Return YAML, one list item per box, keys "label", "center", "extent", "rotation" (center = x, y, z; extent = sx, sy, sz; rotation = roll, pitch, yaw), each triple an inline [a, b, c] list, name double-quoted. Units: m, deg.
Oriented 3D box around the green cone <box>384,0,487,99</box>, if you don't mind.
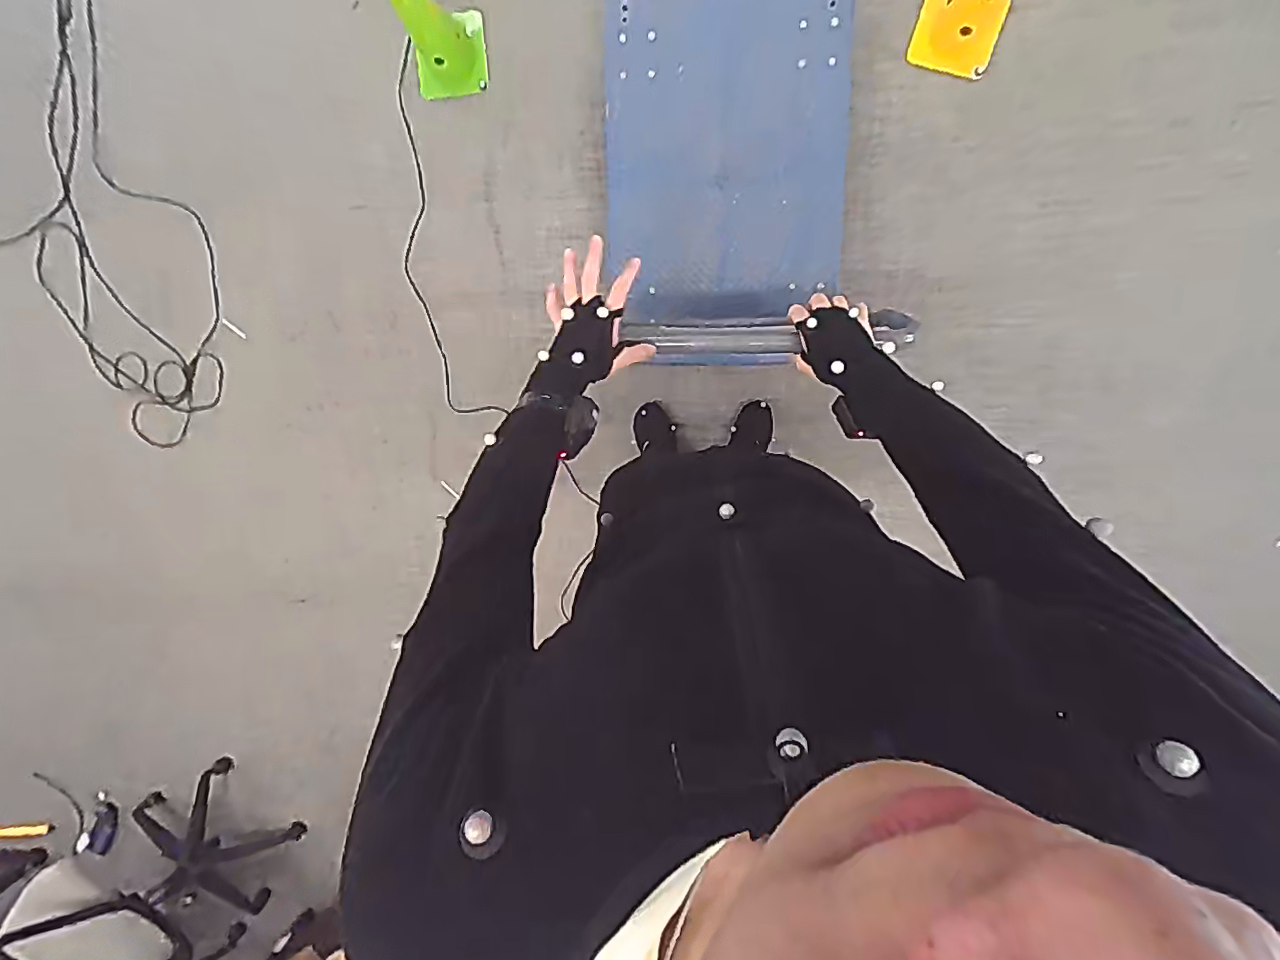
- label: "green cone"
  center: [-0.550, -1.147, 1.327]
  extent: [0.202, 0.368, 0.200]
  rotation: [-3, 100, 9]
